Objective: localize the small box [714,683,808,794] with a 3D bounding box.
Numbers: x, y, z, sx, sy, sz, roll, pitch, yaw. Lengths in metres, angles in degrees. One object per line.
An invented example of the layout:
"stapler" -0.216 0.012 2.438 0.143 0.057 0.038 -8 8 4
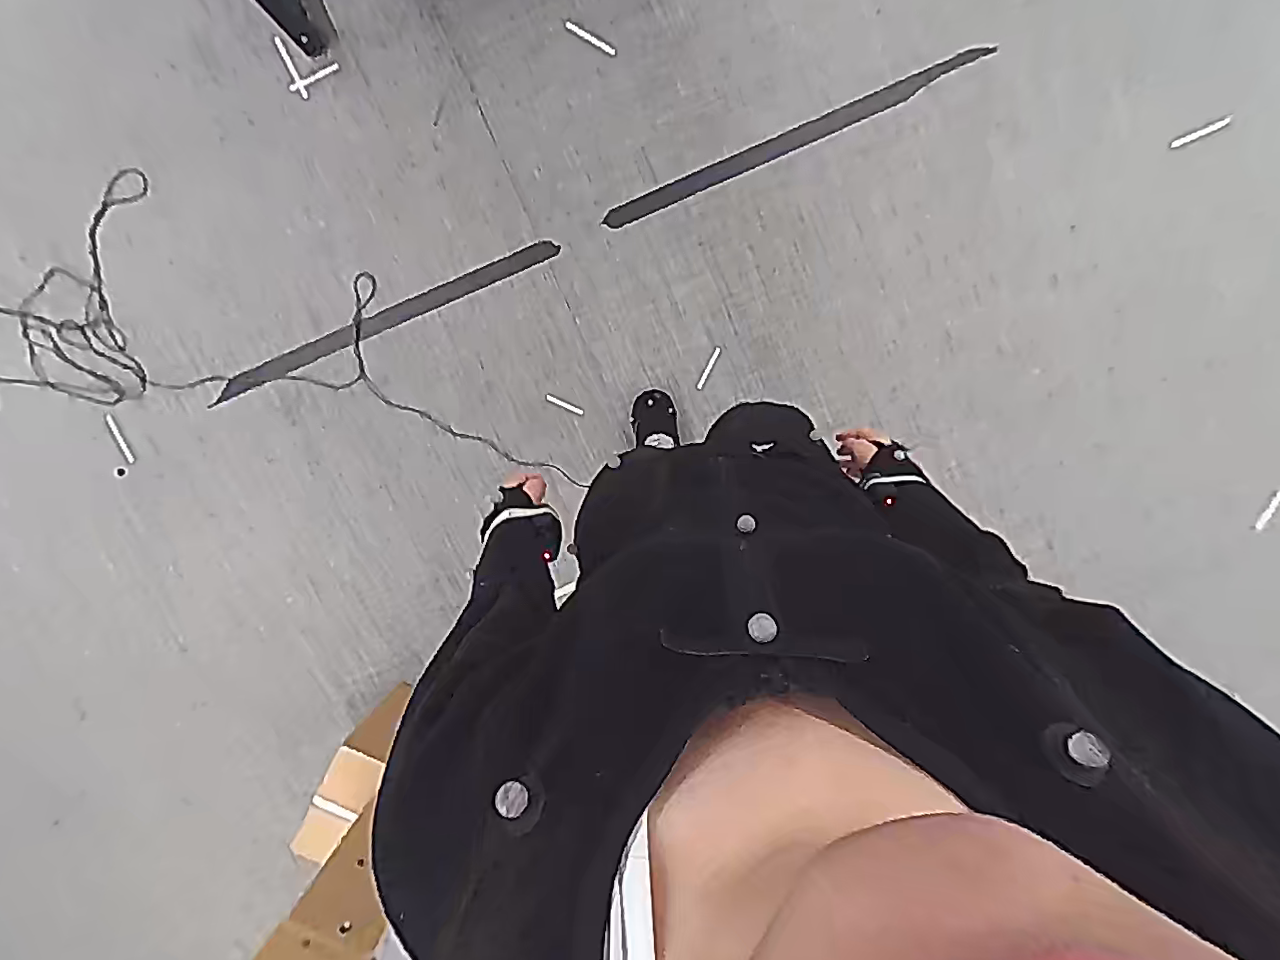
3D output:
"small box" 0.321 0.691 1.467 0.168 0.176 0.179 -33 95 2

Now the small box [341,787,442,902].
"small box" -0.566 0.835 1.198 0.168 0.176 0.179 25 96 -2

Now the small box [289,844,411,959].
"small box" -0.570 0.858 1.036 0.168 0.176 0.179 25 97 -2

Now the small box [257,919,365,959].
"small box" -0.575 0.874 0.873 0.168 0.176 0.179 25 97 -2
